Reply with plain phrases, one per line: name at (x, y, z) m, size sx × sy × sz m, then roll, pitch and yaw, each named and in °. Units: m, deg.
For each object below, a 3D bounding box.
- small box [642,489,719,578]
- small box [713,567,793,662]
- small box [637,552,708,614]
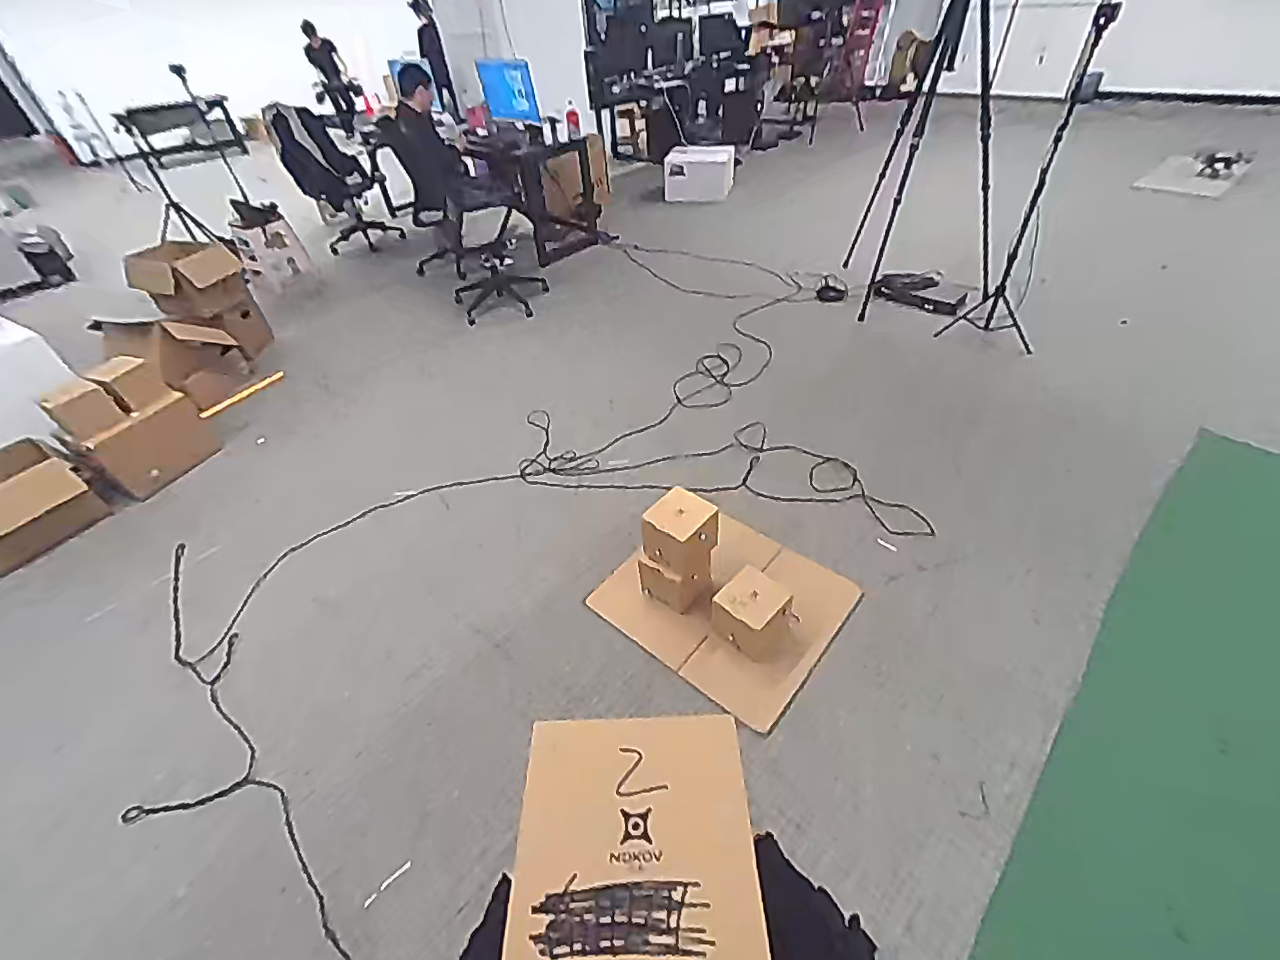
small box at (0.123, 0.164, 1.659) m, size 0.168 × 0.176 × 0.179 m, roll 29°, pitch 52°, yaw 32°
small box at (0.332, 0.404, 1.618) m, size 0.179 × 0.176 × 0.168 m, roll -36°, pitch 49°, yaw -28°
small box at (0.113, 0.299, 1.755) m, size 0.168 × 0.176 × 0.179 m, roll 26°, pitch 51°, yaw 31°
